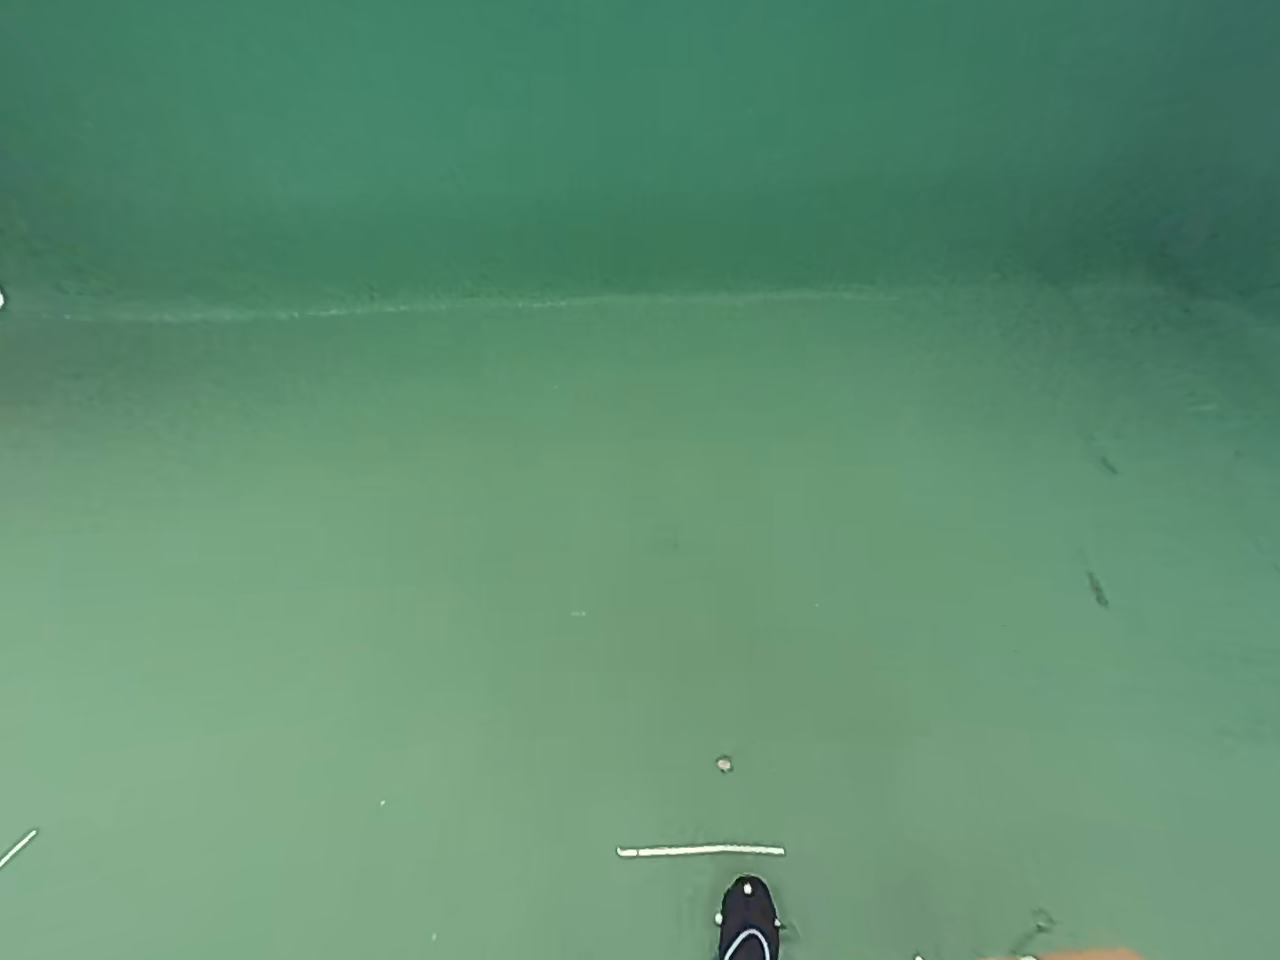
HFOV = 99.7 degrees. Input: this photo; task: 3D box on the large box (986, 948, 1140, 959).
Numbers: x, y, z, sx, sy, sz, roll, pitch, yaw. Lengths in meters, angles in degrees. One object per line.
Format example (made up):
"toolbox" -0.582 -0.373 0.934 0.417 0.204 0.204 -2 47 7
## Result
"large box" 0.565 0.790 0.550 0.320 0.408 0.320 -5 76 0
